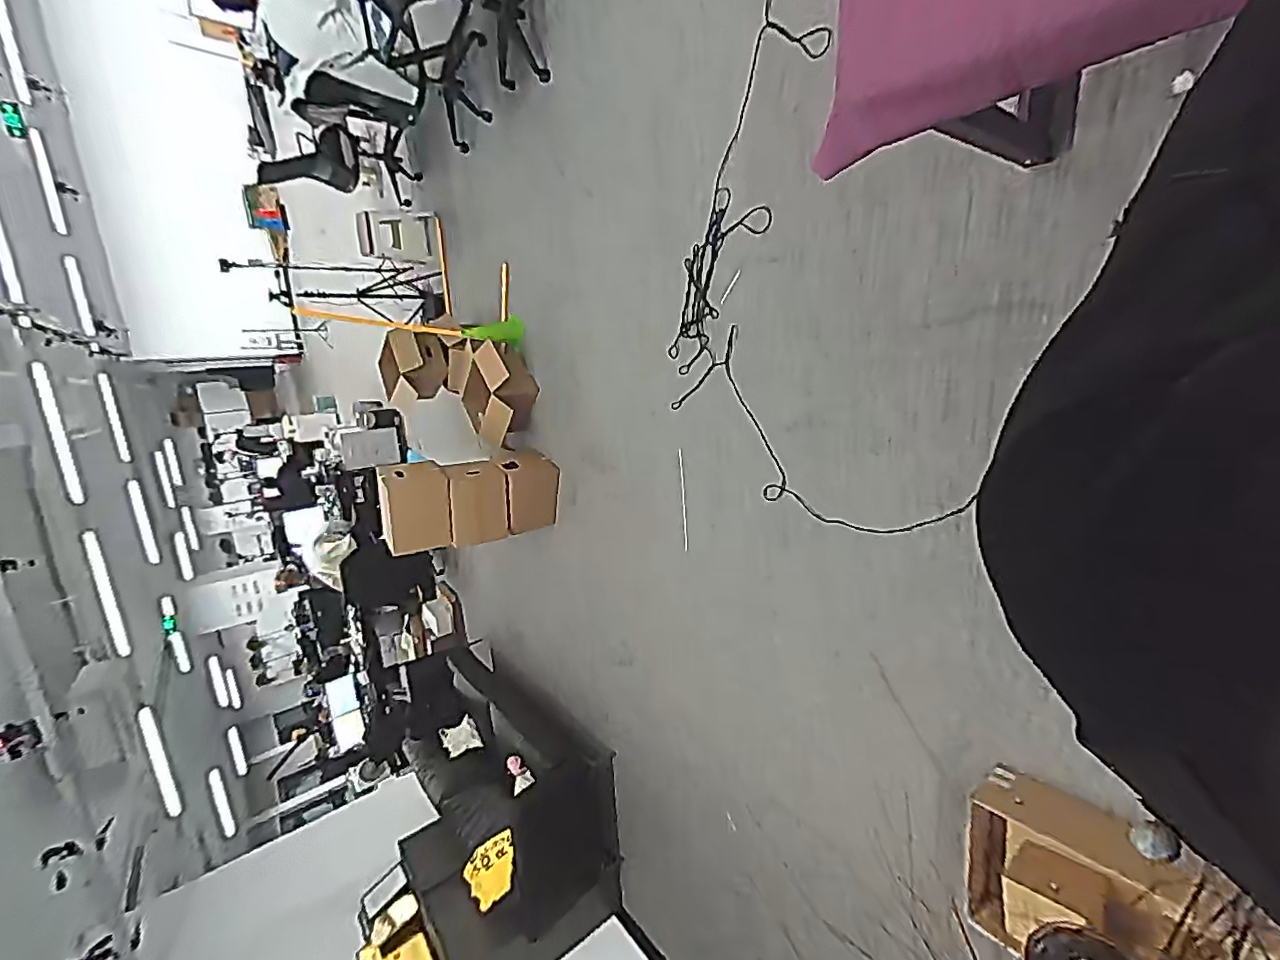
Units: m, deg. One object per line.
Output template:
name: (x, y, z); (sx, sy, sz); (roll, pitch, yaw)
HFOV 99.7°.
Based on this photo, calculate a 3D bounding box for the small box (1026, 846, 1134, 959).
small box: (1.090, 1.057, 1.336); (0.179, 0.176, 0.168); (-1, 99, 55)

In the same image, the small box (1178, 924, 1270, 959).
small box: (1.247, 1.093, 1.125); (0.179, 0.176, 0.168); (6, 104, 55)
